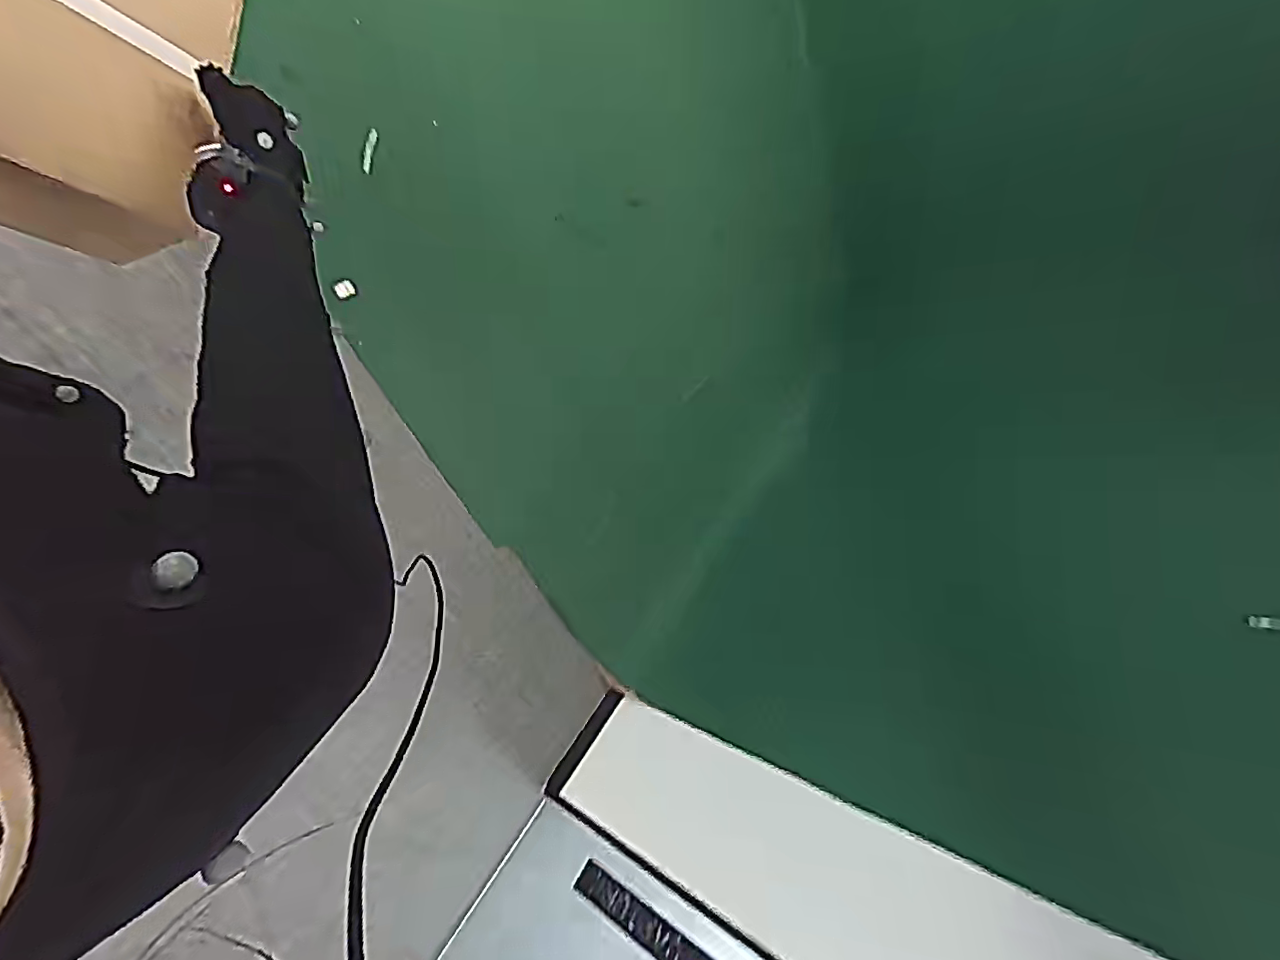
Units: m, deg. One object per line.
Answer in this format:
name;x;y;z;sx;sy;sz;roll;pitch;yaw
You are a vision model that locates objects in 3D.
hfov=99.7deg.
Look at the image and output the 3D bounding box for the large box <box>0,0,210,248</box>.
large box;-0.685;-0.453;0.481;0.408;0.320;0.320;11;87;-55
